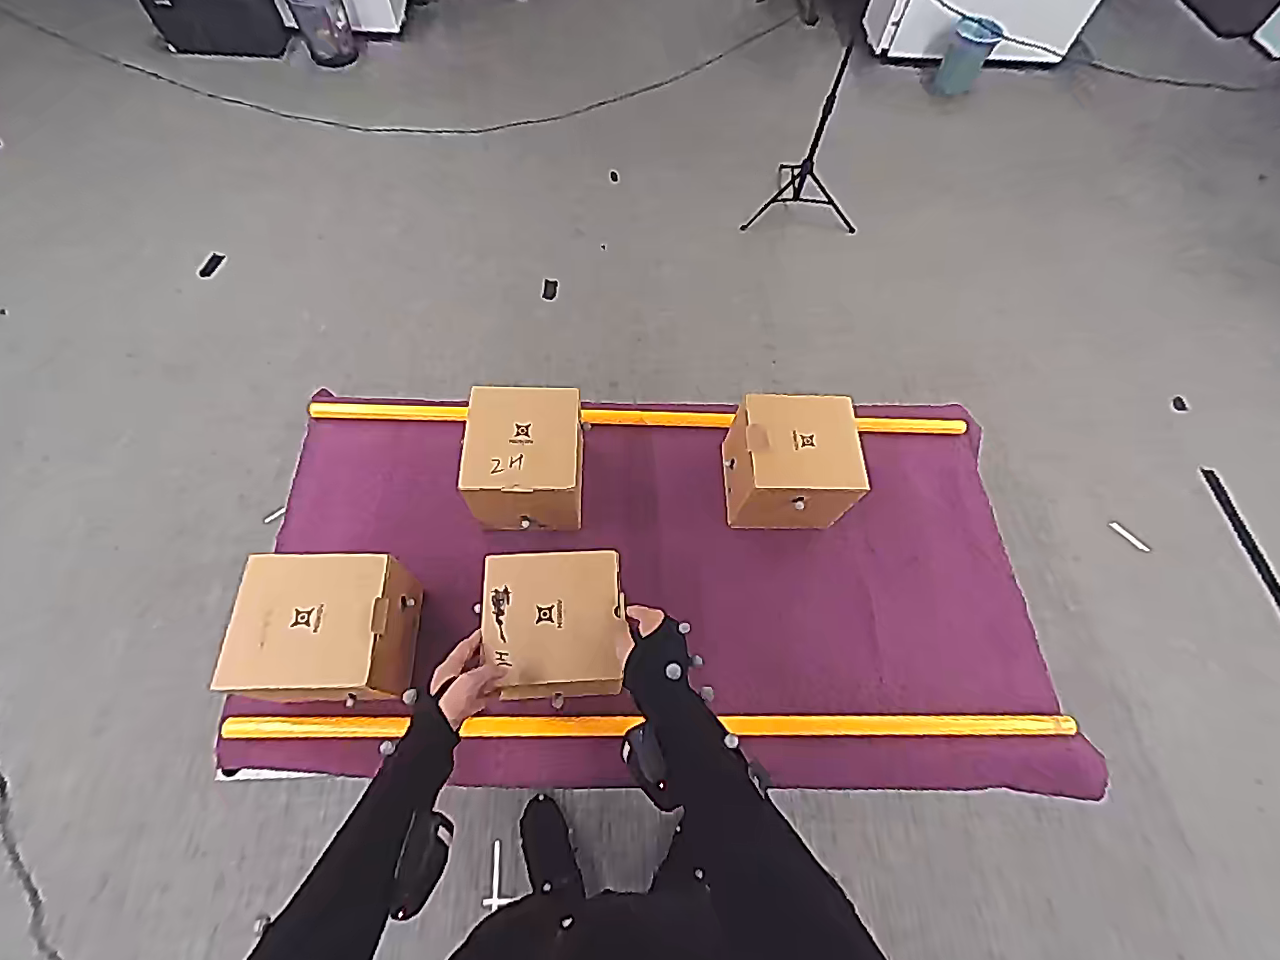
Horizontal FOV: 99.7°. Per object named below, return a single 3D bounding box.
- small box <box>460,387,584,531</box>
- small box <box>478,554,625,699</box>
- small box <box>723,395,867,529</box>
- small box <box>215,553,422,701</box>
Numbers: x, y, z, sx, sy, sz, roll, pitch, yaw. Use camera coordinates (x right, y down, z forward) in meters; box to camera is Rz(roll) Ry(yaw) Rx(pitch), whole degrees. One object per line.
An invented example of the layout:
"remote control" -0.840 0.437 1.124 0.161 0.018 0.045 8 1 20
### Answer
"small box" -0.178 -0.029 0.869 0.168 0.176 0.179 1 65 -3
"small box" -0.116 0.208 0.753 0.179 0.176 0.168 -1 63 -5
"small box" 0.244 -0.024 0.895 0.179 0.176 0.168 1 65 -3
"small box" -0.413 0.205 0.736 0.179 0.176 0.168 1 63 -6
